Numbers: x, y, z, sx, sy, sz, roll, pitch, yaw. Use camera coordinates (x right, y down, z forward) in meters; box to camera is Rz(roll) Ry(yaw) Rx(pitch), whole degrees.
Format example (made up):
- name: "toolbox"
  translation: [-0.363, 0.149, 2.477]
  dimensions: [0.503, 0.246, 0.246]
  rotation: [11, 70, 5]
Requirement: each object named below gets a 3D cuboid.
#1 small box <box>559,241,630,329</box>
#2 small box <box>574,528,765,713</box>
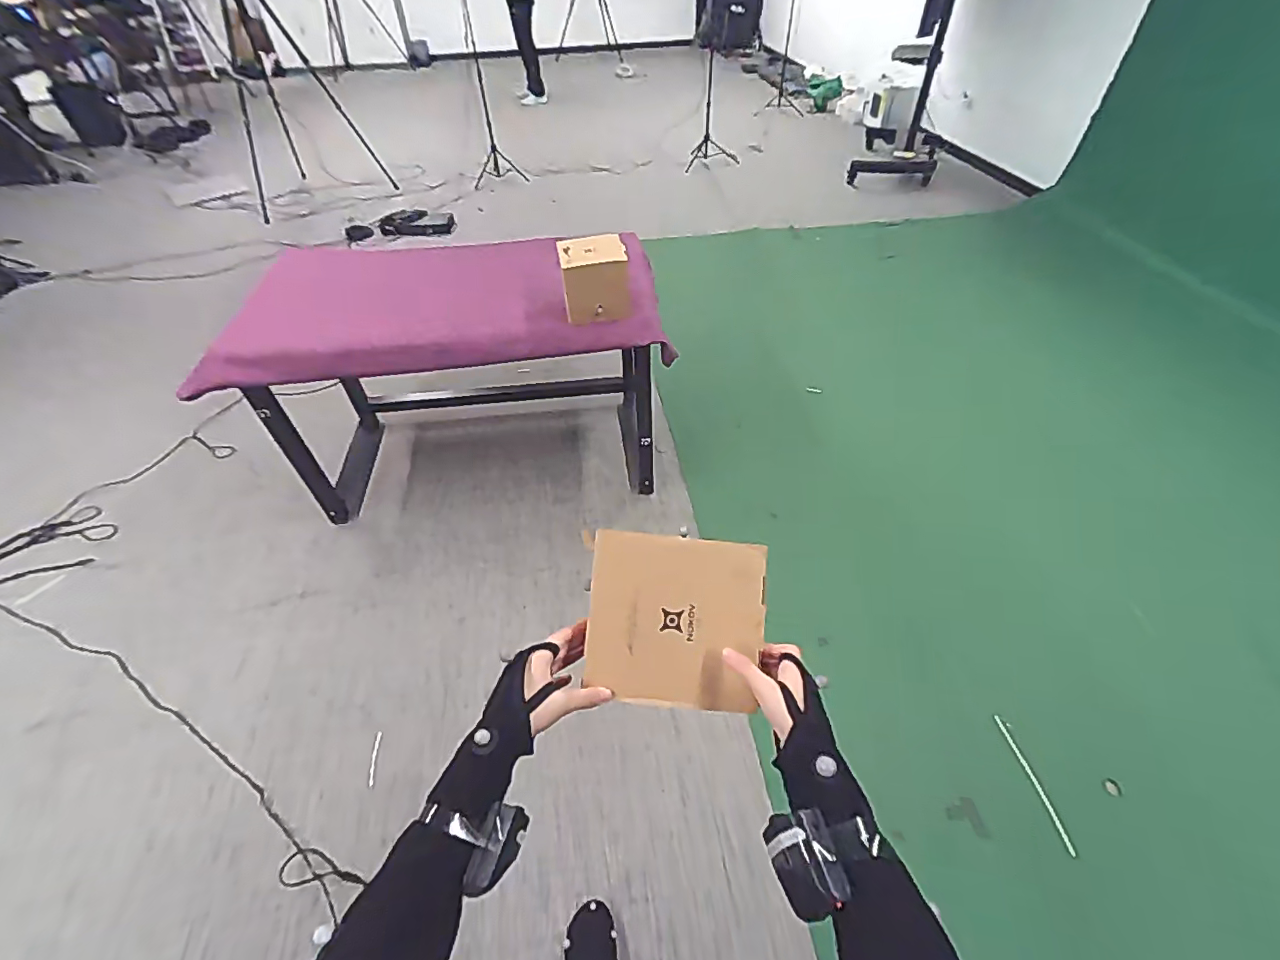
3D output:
- name: "small box"
  translation: [-0.123, -0.540, 1.501]
  dimensions: [0.179, 0.176, 0.168]
  rotation: [-9, 47, -6]
- name: "small box"
  translation: [0.028, 0.148, 0.610]
  dimensions: [0.179, 0.176, 0.168]
  rotation: [6, 81, -1]
